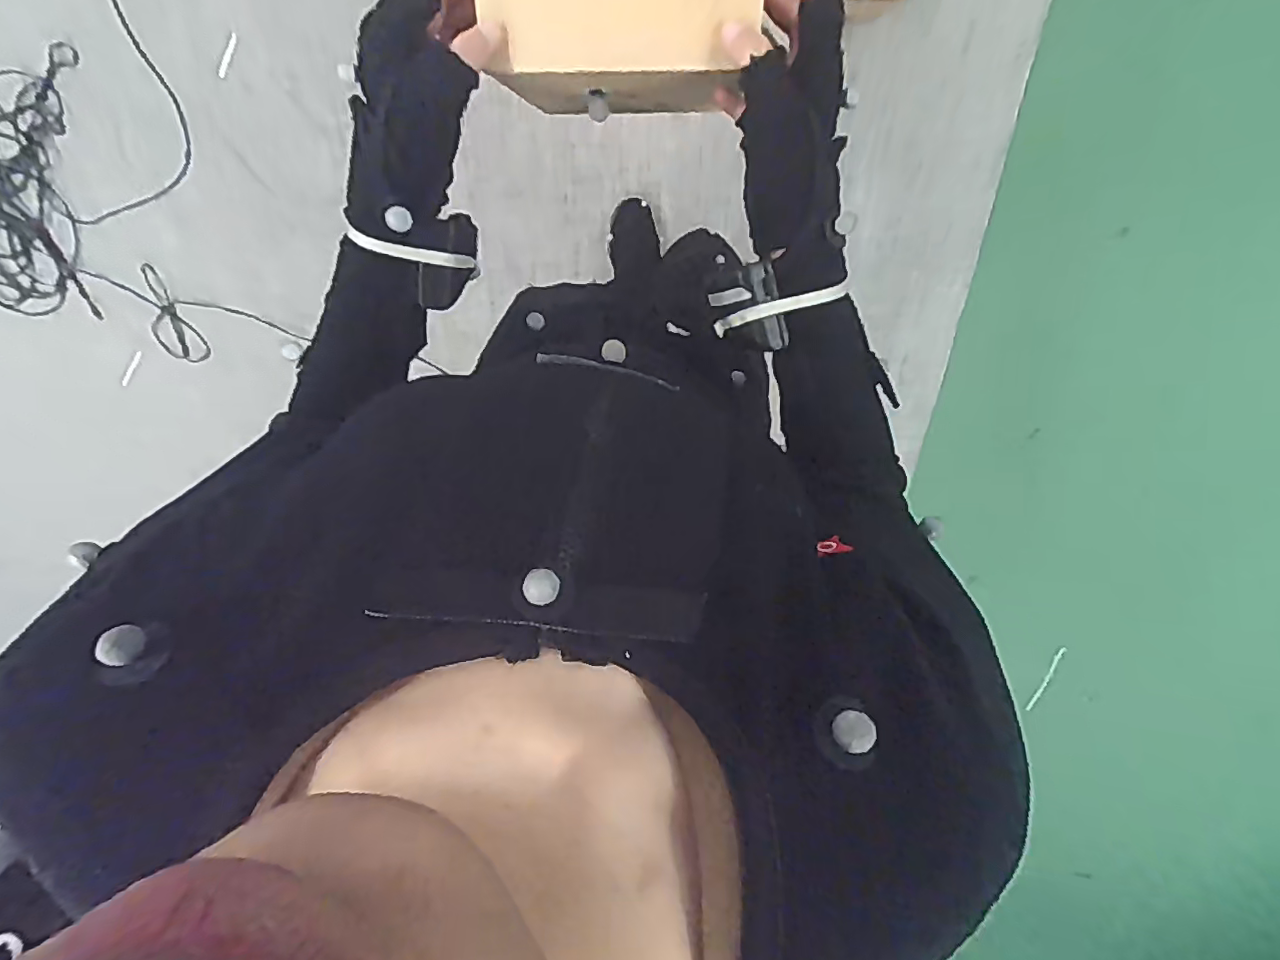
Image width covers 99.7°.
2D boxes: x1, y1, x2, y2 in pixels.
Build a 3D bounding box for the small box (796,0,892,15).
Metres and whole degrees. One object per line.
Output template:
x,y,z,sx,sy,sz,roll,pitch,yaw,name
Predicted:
0.378,-0.944,0.940,0.168,0.176,0.179,2,121,2,small box
